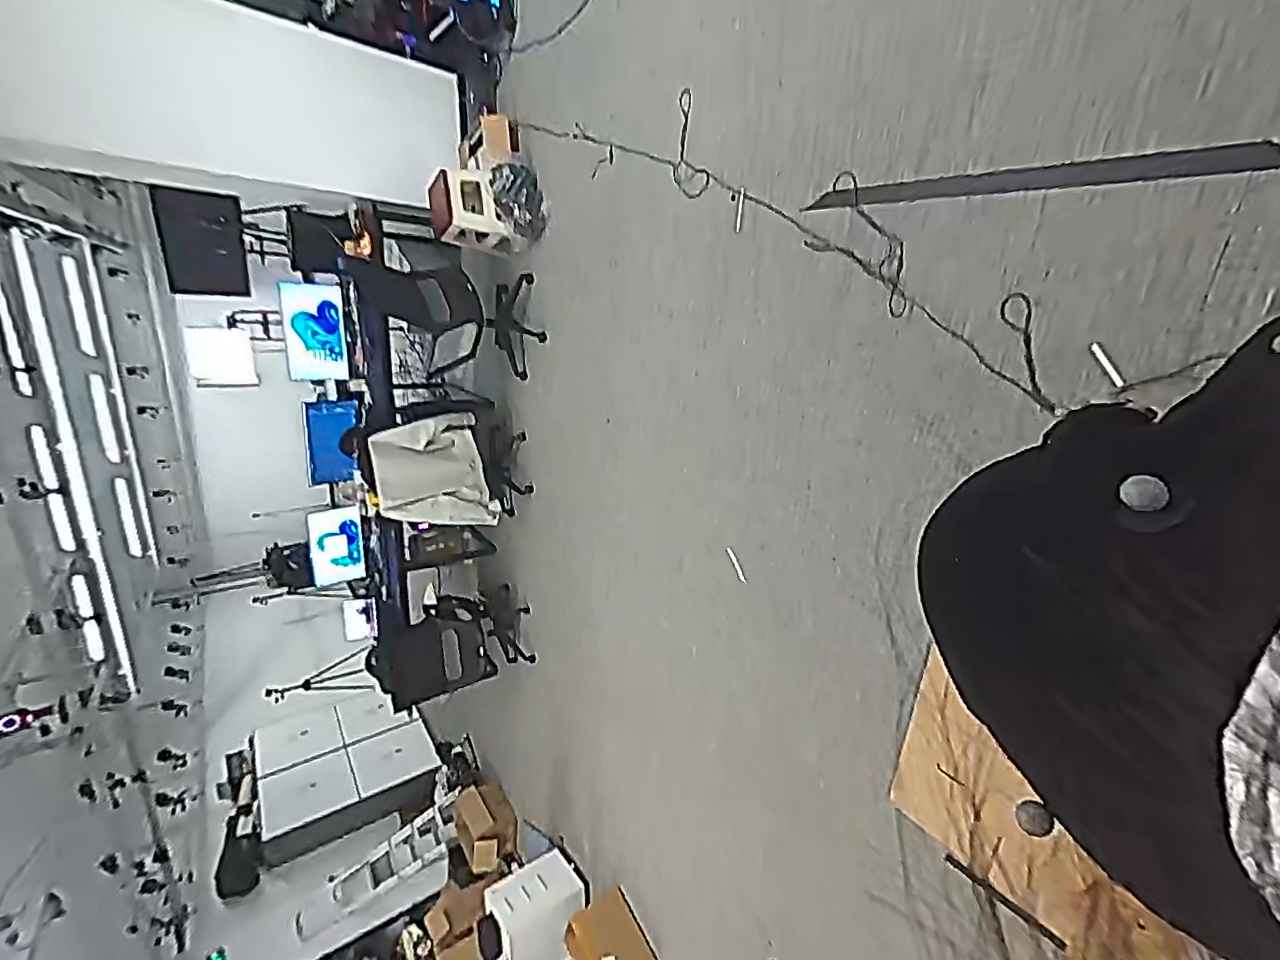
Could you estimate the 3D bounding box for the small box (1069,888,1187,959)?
[{"bbox_3d":[1.085,1.081,1.206,0.168,0.176,0.179,12,107,51],"label":"small box"}]
